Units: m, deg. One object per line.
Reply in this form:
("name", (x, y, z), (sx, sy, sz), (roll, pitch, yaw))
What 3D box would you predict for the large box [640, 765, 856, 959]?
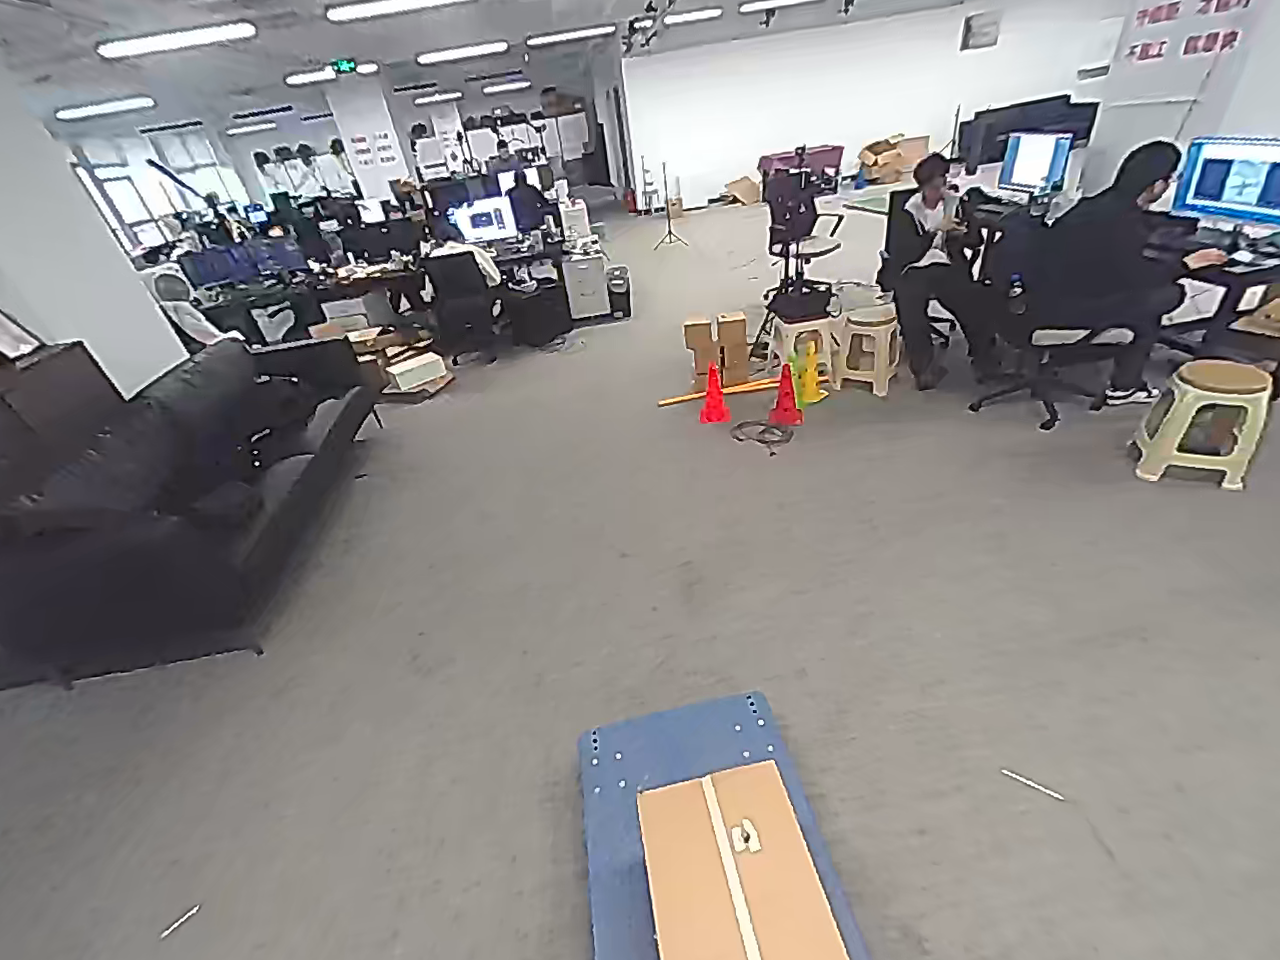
("large box", (0.204, 0.873, 1.074), (0.320, 0.320, 0.408), (-12, 33, -4))
